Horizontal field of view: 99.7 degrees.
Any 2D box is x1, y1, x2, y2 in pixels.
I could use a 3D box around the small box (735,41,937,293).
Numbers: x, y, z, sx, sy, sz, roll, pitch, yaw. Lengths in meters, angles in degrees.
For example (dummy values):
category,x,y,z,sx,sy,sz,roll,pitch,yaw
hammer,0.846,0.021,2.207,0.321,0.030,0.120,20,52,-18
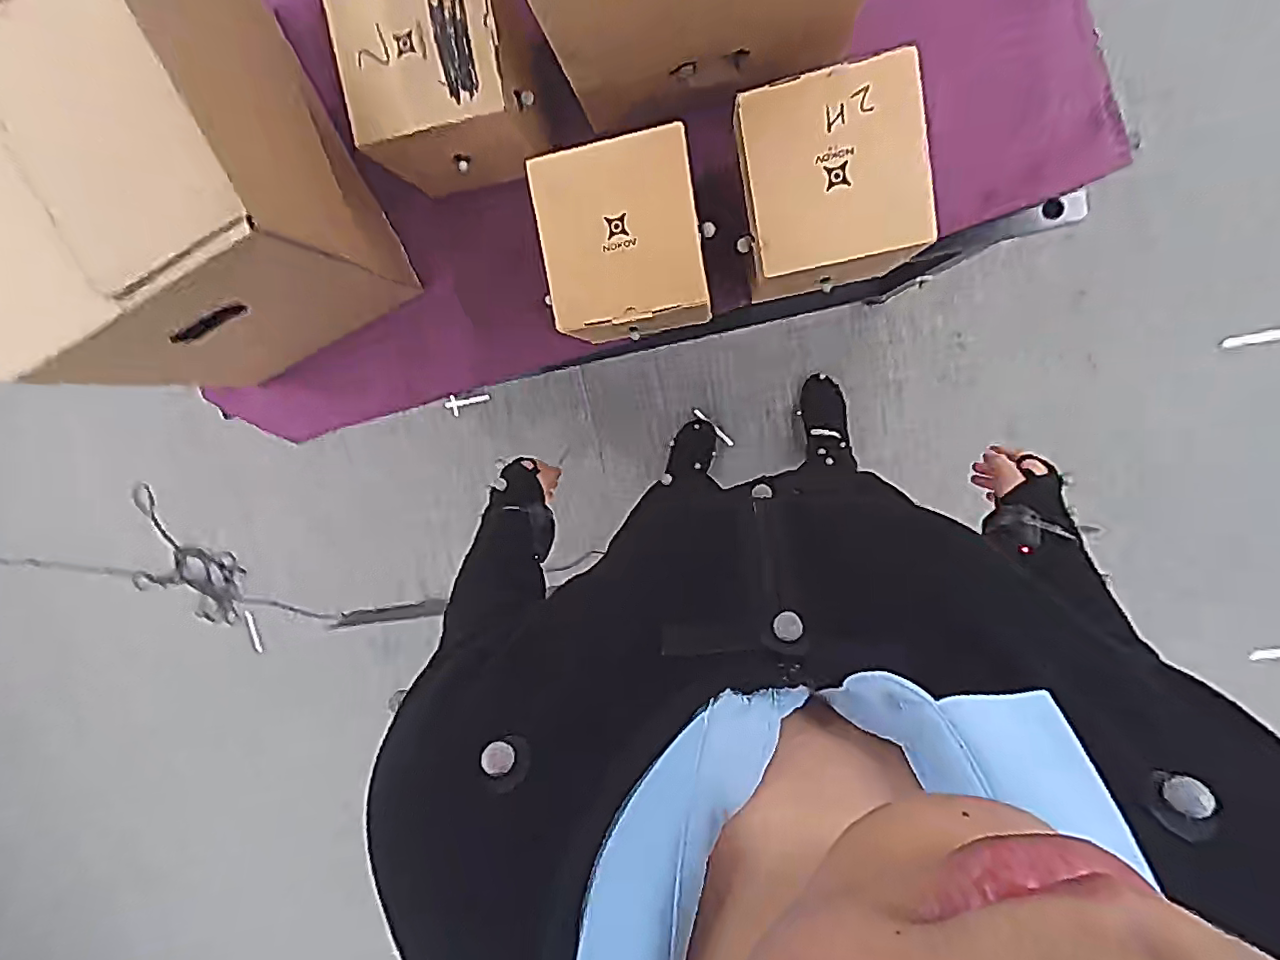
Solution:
category,x,y,z,sx,sy,sz,roll,pitch,yaw
small box,0.199,-0.313,0.588,0.168,0.176,0.179,-10,98,9
